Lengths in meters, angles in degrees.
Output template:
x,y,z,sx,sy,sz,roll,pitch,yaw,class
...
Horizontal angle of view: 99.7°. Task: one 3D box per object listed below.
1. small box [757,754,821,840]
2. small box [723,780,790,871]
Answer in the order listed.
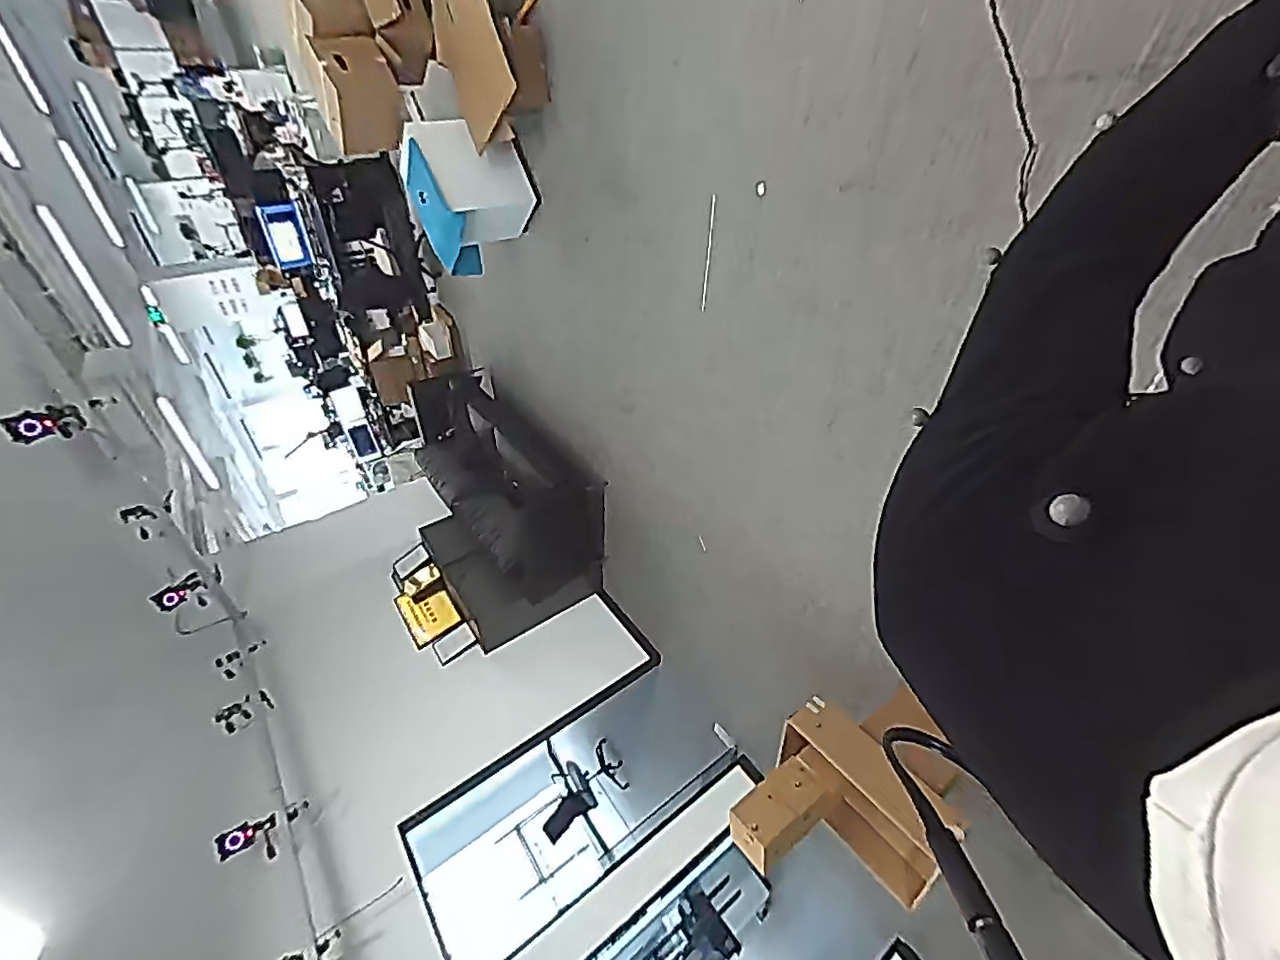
x,y,z,sx,sy,sz,roll,pitch,yaw,class
0.545,1.155,1.985,0.168,0.176,0.179,30,135,47,small box
0.414,1.211,1.905,0.168,0.176,0.179,27,133,48,small box
